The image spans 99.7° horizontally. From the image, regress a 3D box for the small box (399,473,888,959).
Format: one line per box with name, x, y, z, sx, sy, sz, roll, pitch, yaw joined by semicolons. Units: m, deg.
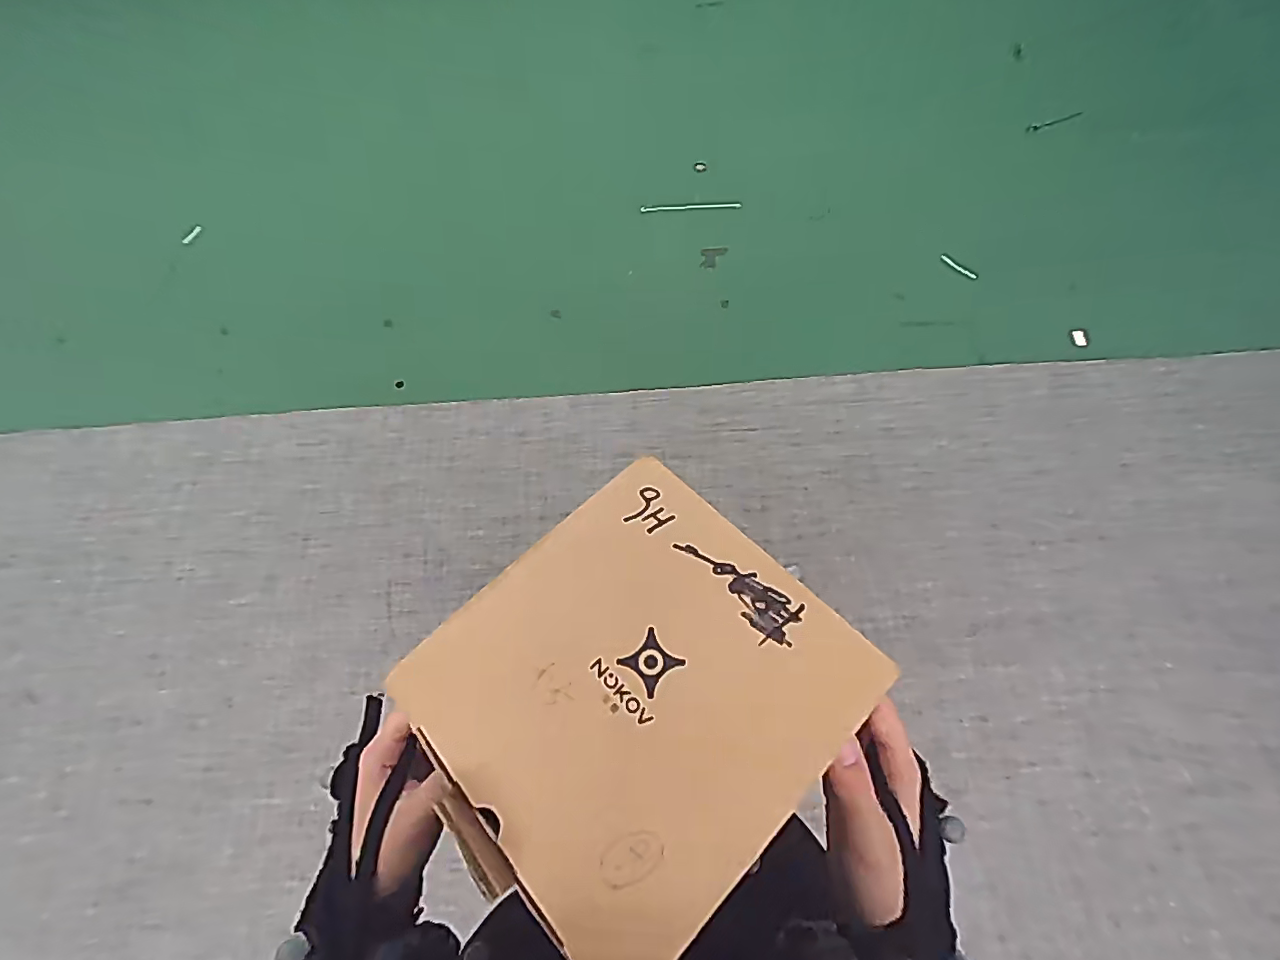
small box;0.005;0.136;0.322;0.179;0.176;0.168;-41;66;-18
